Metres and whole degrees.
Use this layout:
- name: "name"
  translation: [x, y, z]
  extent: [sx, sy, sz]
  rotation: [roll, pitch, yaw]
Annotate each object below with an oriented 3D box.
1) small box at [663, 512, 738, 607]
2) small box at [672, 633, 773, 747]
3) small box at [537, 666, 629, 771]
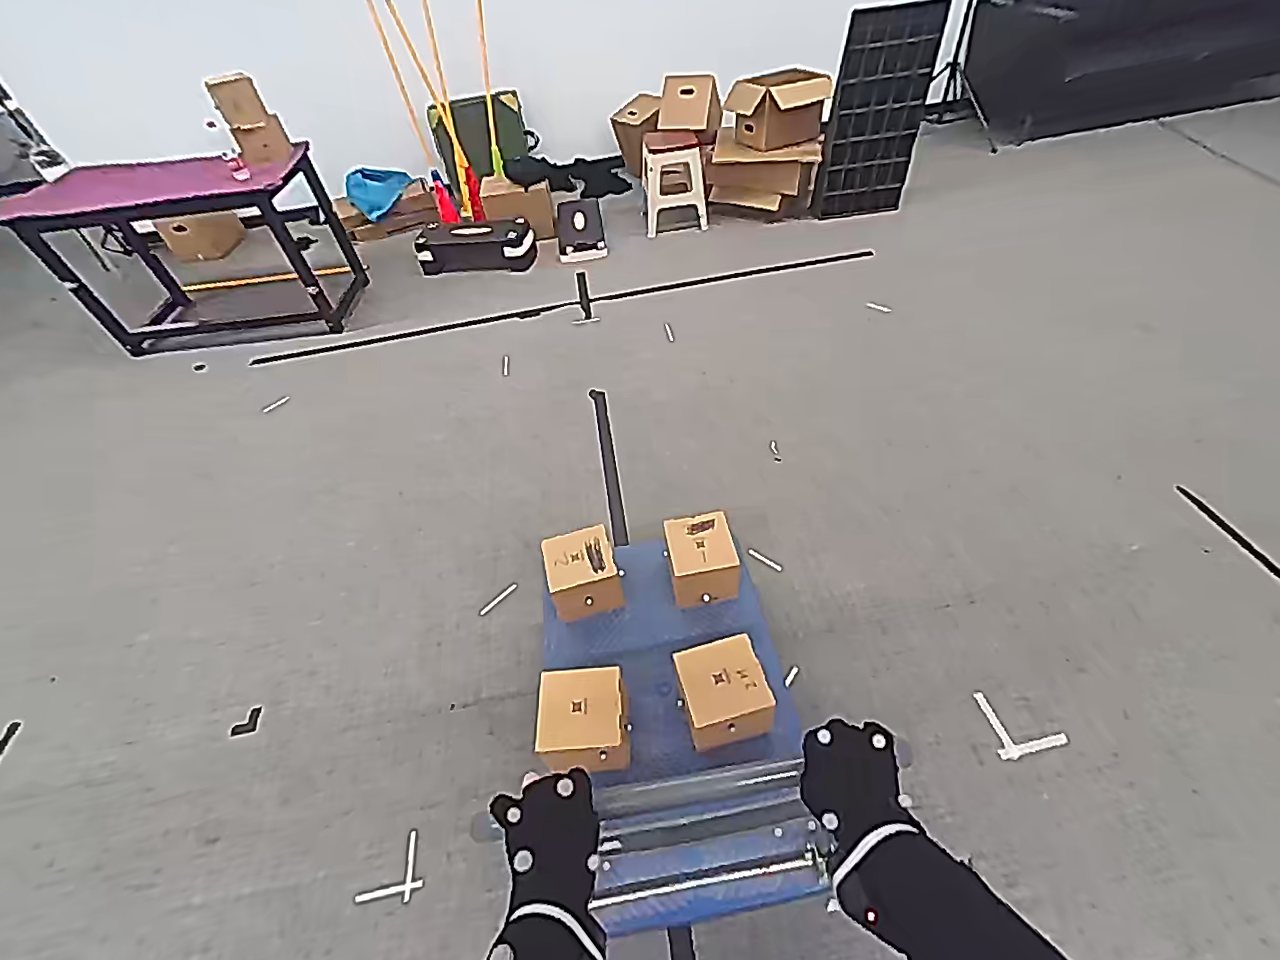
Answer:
- name: "small box"
  translation: [0.158, 0.214, 1.448]
  extent: [0.168, 0.176, 0.179]
  rotation: [-10, 49, -2]
- name: "small box"
  translation: [0.181, 0.474, 1.210]
  extent: [0.179, 0.176, 0.168]
  rotation: [-14, 48, -5]
- name: "small box"
  translation: [-0.120, 0.531, 1.199]
  extent: [0.179, 0.176, 0.168]
  rotation: [-5, 47, 1]
